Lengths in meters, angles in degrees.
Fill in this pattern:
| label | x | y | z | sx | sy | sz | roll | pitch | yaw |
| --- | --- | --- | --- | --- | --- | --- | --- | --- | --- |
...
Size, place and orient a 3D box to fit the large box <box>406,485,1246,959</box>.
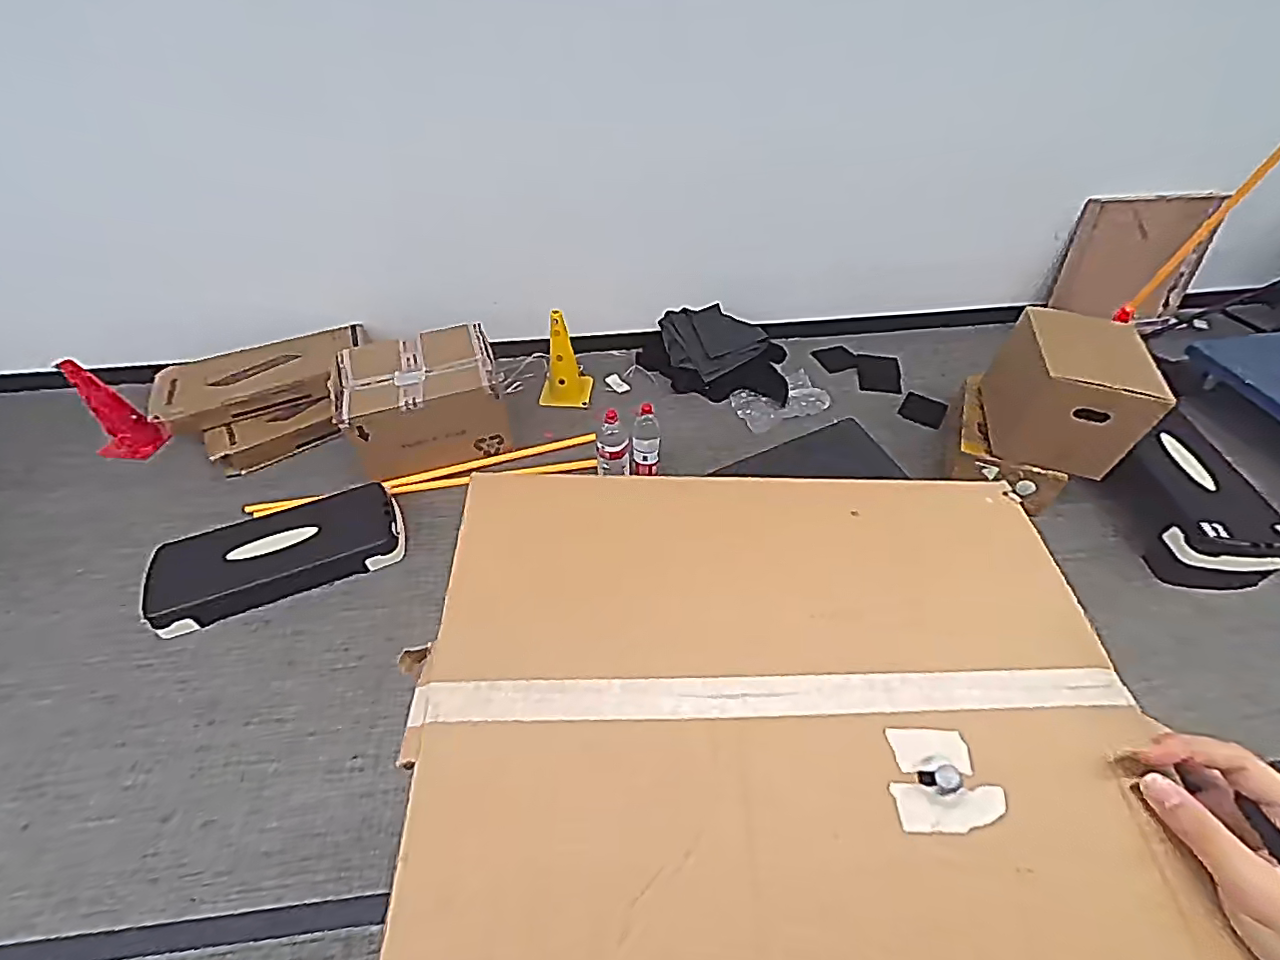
| label | x | y | z | sx | sy | sz | roll | pitch | yaw |
| --- | --- | --- | --- | --- | --- | --- | --- | --- | --- |
| large box | 0.074 | 0.218 | 0.434 | 0.408 | 0.320 | 0.320 | 2 | 53 | -6 |
